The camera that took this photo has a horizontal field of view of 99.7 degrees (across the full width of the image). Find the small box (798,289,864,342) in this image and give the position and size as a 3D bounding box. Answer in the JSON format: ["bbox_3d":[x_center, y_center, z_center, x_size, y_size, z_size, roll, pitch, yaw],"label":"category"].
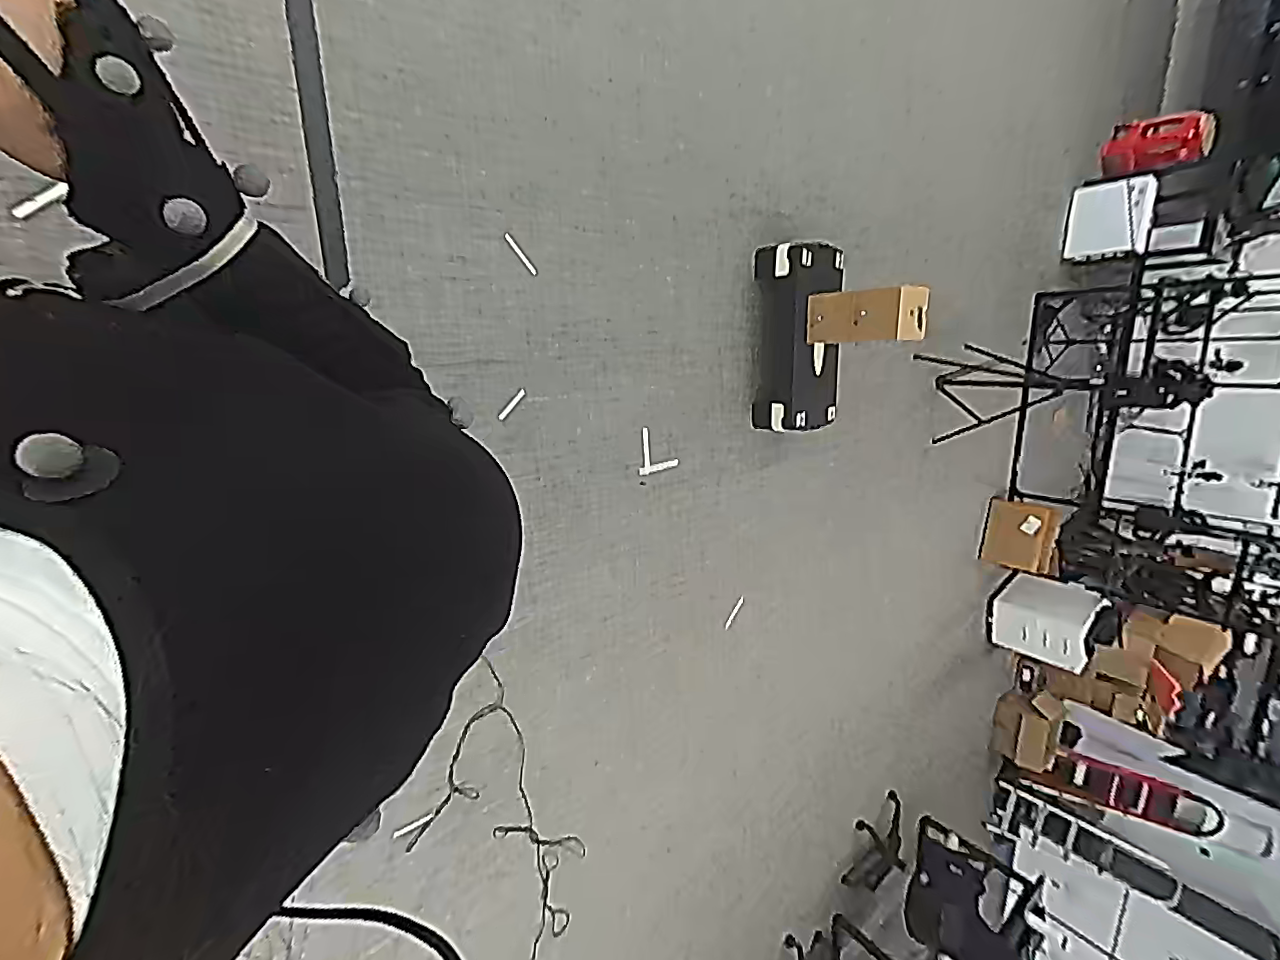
[{"bbox_3d":[0.685,-0.577,1.916,0.179,0.176,0.168,-11,106,-37],"label":"small box"}]

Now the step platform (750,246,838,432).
[{"bbox_3d":[0.593,-0.529,2.079,0.286,0.204,0.684,-13,107,-37],"label":"step platform"}]

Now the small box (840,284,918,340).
[{"bbox_3d":[0.790,-0.552,1.793,0.179,0.176,0.168,-11,107,-37],"label":"small box"}]
